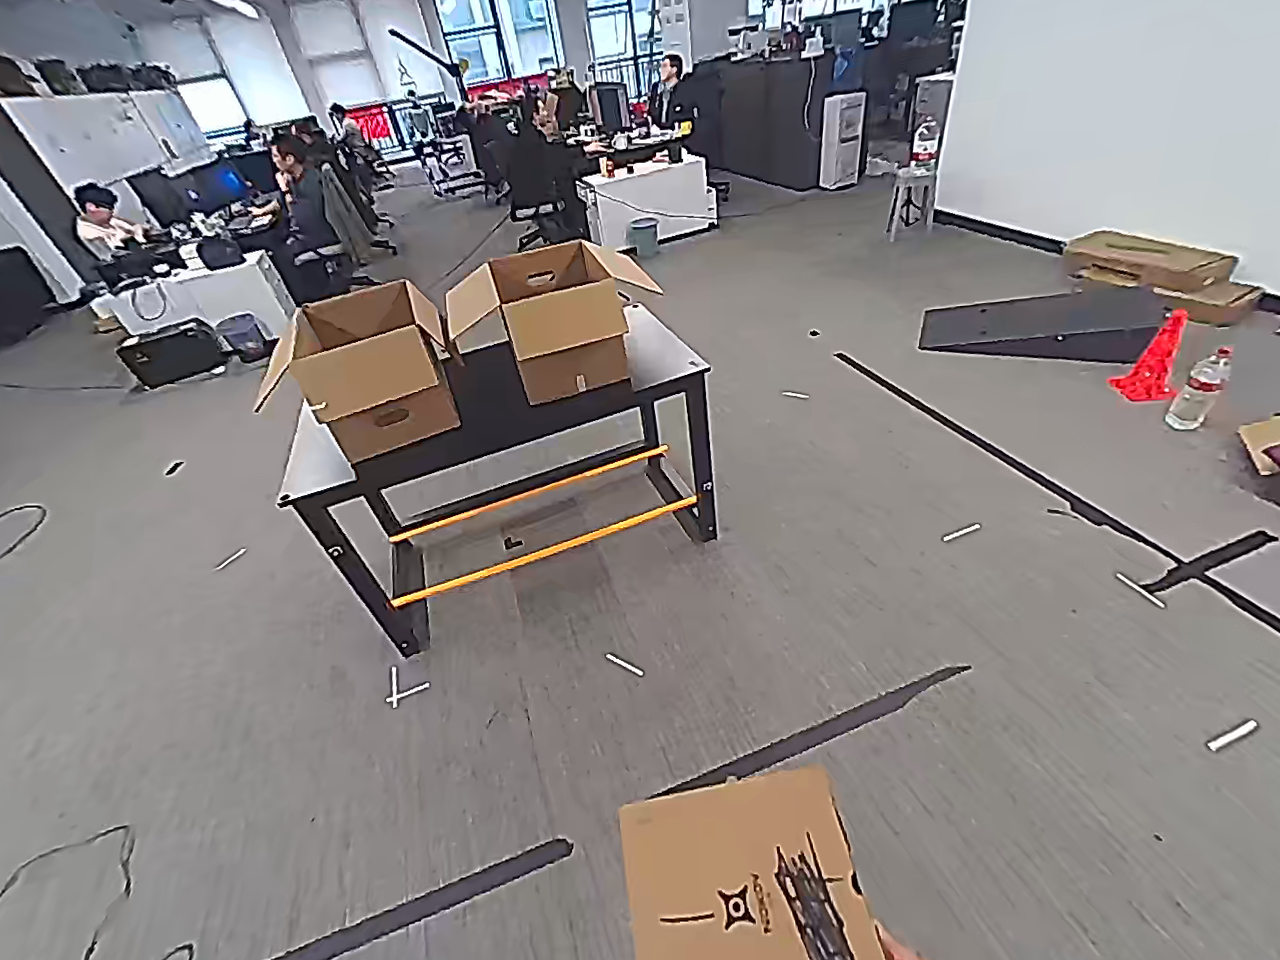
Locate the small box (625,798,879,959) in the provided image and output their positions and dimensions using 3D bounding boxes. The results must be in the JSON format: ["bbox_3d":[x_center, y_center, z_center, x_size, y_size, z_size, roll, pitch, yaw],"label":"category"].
[{"bbox_3d":[0.091,0.392,0.462,0.179,0.176,0.168,-11,49,-1],"label":"small box"}]
